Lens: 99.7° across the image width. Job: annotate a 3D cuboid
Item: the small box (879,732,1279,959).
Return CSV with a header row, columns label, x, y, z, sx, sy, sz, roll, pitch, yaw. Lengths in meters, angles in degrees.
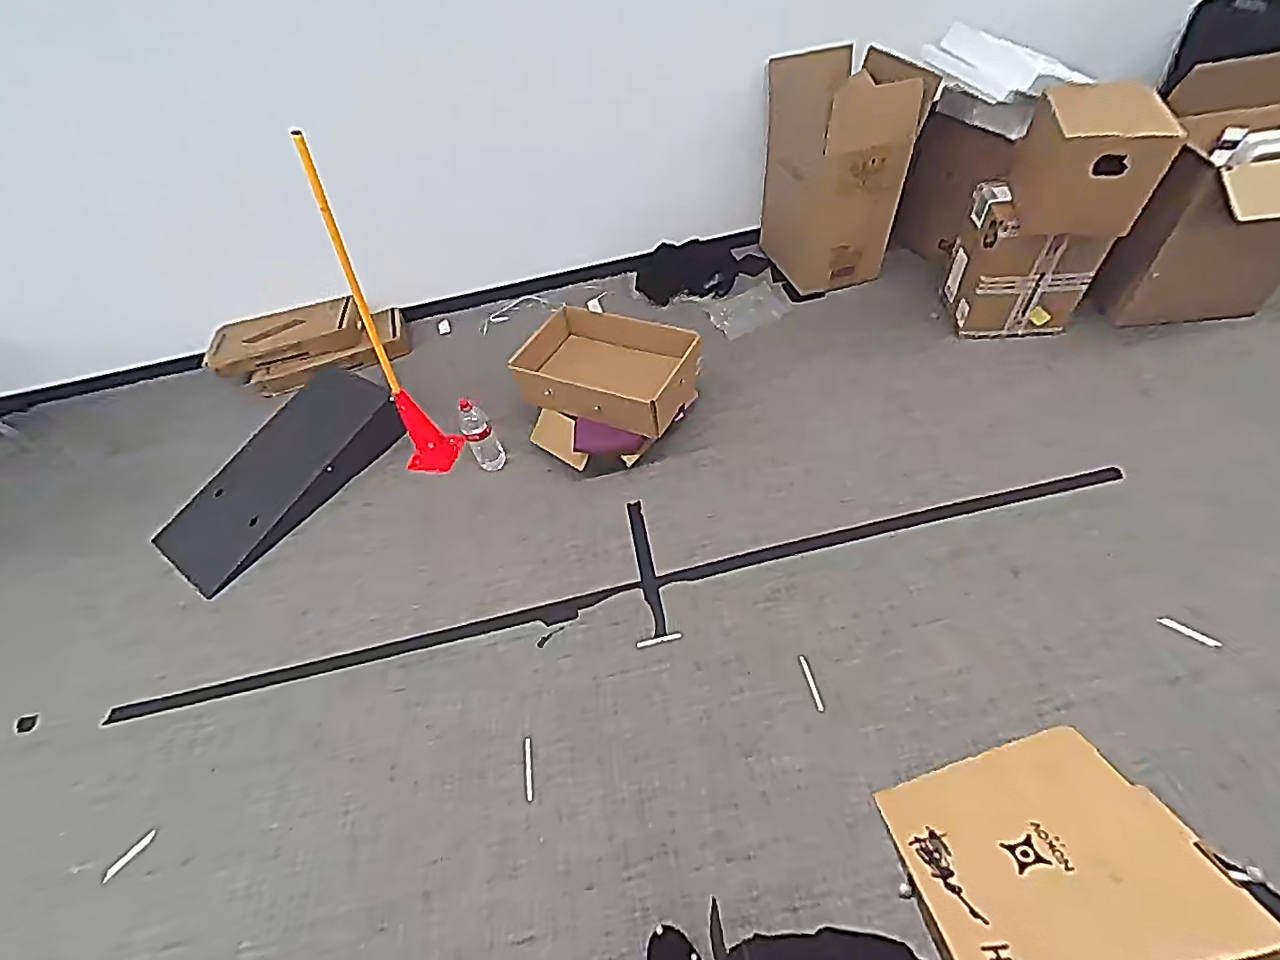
label,x,y,z,sx,sy,sz,roll,pitch,yaw
small box,0.320,0.340,0.415,0.179,0.176,0.168,-23,16,7
